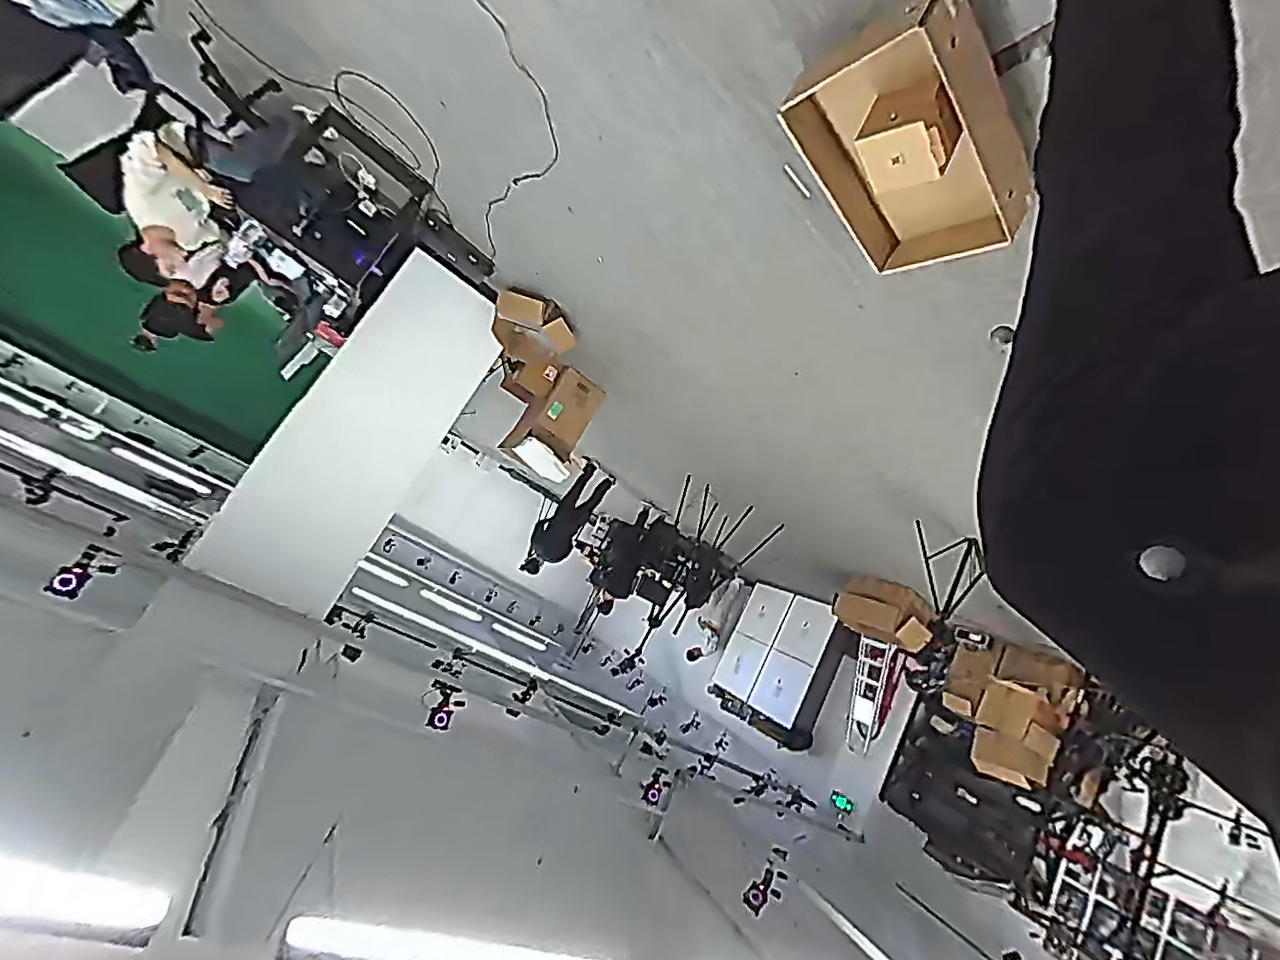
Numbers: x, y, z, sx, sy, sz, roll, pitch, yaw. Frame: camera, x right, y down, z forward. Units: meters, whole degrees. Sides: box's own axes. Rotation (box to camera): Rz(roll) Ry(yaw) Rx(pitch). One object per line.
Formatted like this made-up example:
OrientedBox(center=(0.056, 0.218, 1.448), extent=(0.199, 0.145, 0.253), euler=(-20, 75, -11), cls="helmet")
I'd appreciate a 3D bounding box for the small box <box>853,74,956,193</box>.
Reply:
OrientedBox(center=(0.674, -0.869, 1.363), extent=(0.179, 0.176, 0.168), euler=(14, 161, 48), cls="small box")
